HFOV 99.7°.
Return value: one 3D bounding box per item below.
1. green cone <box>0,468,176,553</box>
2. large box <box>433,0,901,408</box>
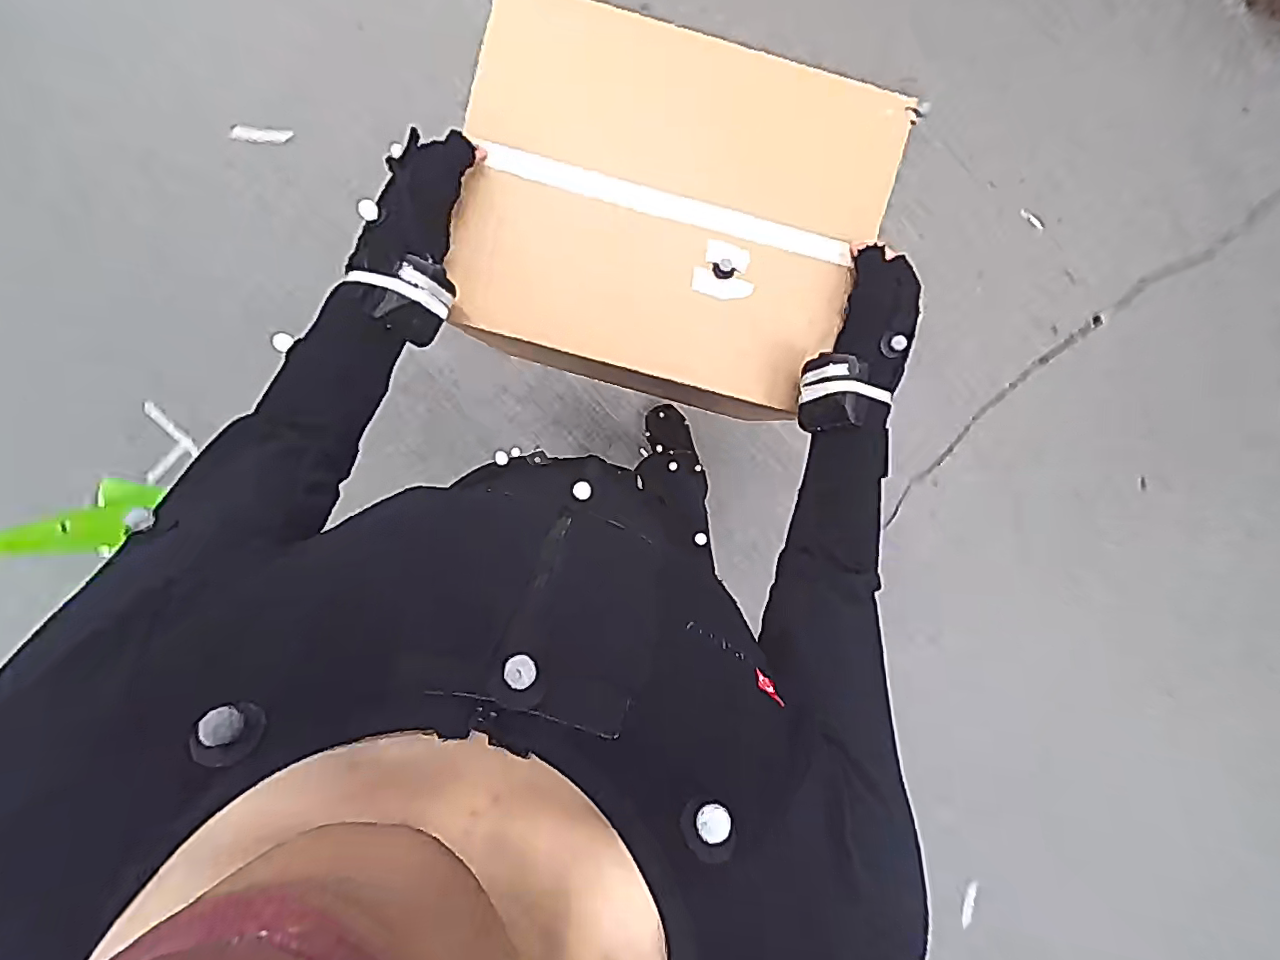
[{"bbox_3d":[-1.322,0.091,1.246,0.202,0.368,0.200,12,93,-2],"label":"green cone"},{"bbox_3d":[0.017,-0.287,0.667,0.408,0.320,0.320,14,96,-4],"label":"large box"}]
